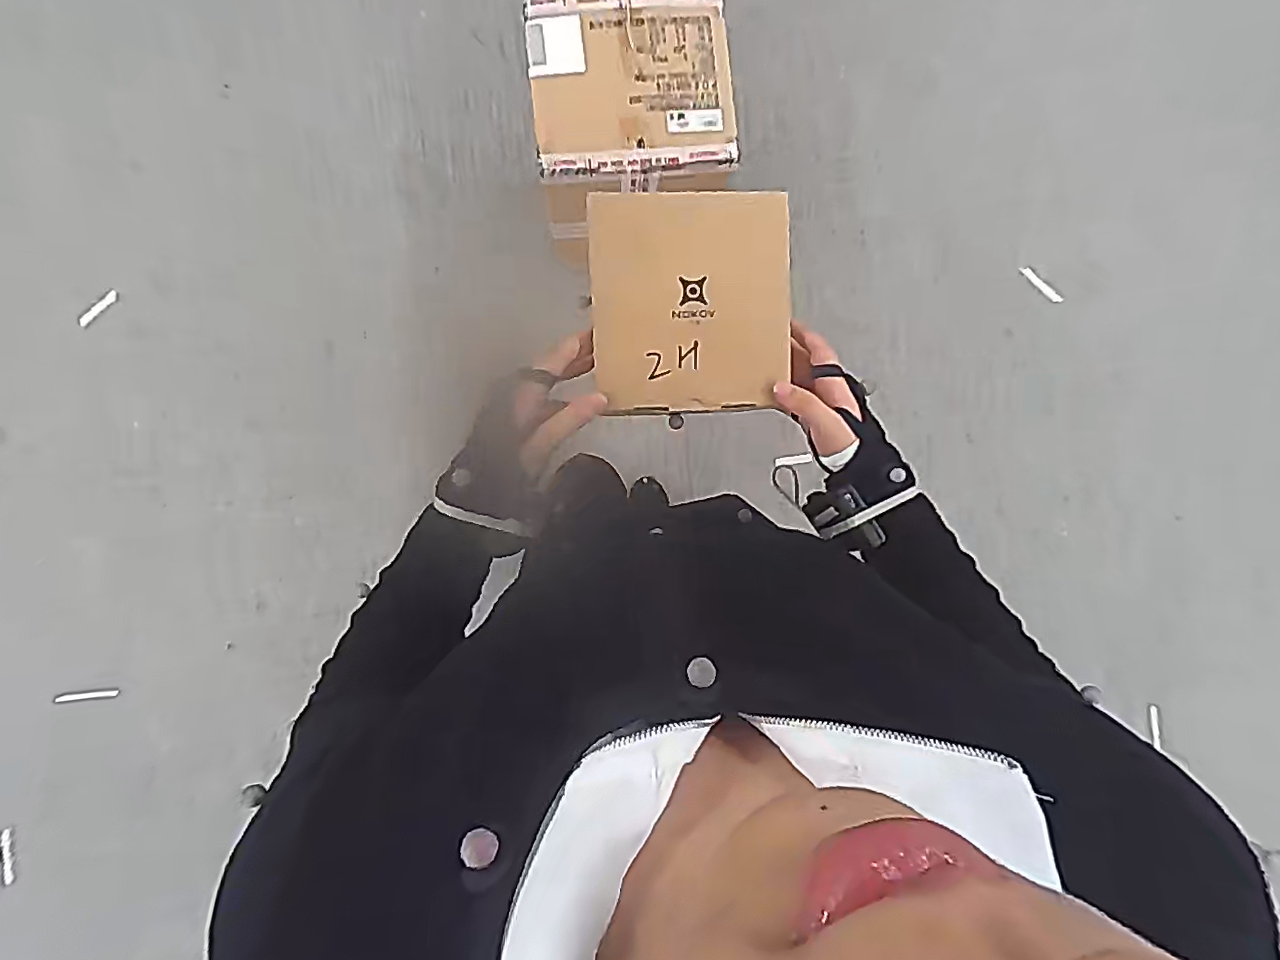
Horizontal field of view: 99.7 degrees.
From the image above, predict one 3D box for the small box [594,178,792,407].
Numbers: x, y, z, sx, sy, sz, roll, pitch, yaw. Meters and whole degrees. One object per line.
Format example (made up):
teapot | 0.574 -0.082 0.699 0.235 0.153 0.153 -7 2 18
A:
small box | 0.040 -0.166 0.526 0.168 0.176 0.179 -3 96 -3
